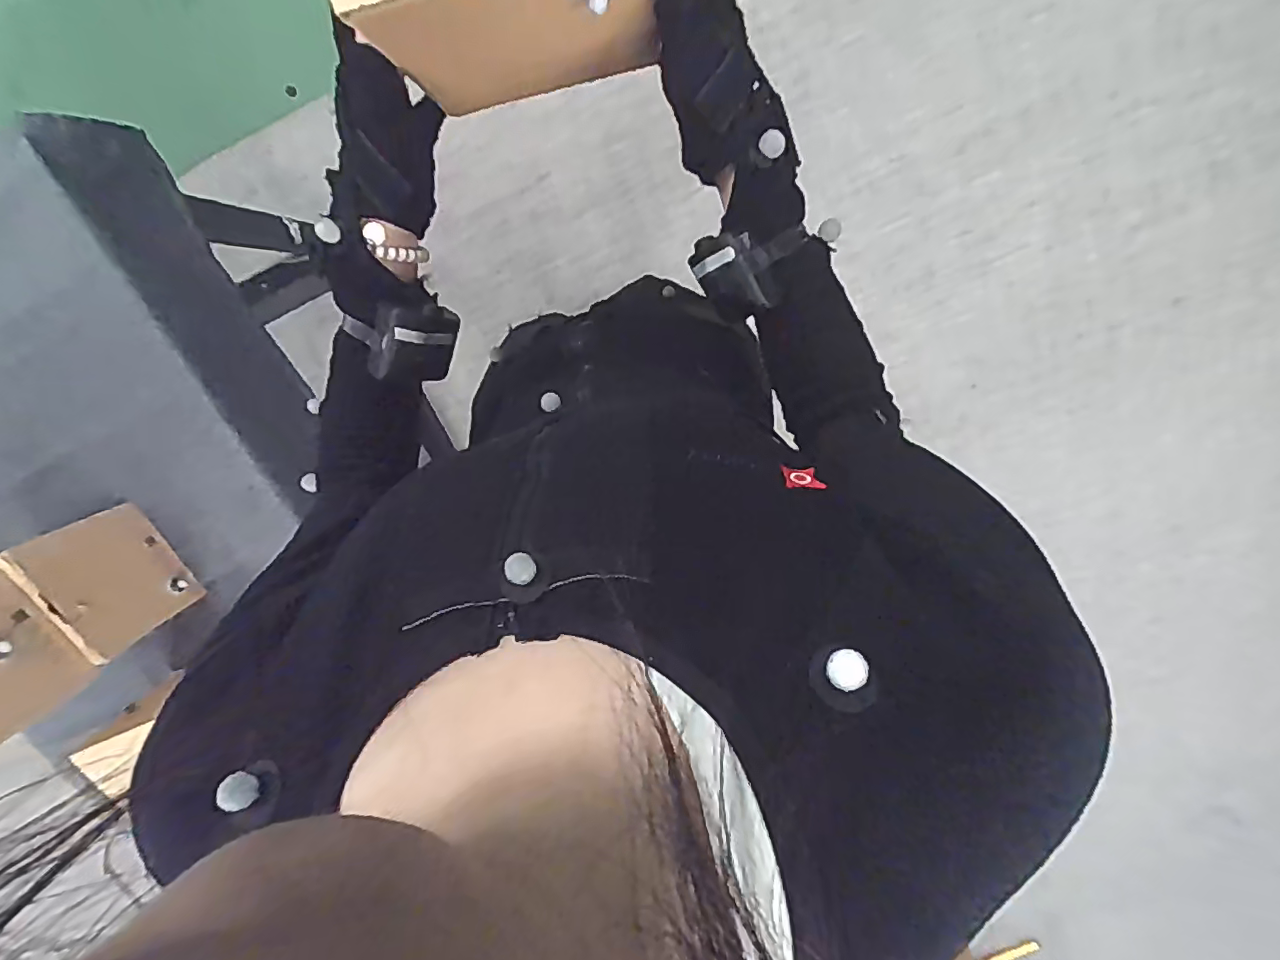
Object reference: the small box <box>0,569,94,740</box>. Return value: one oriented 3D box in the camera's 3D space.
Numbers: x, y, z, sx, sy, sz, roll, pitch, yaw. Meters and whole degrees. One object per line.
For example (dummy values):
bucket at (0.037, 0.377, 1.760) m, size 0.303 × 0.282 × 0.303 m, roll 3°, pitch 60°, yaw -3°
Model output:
small box at (-0.768, 0.225, 0.575) m, size 0.179 × 0.176 × 0.168 m, roll -25°, pitch 107°, yaw 9°

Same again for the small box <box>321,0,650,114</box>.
small box at (-0.092, -0.352, 0.323) m, size 0.179 × 0.176 × 0.168 m, roll -12°, pitch 108°, yaw 4°

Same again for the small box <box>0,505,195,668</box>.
small box at (-0.757, 0.156, 0.724) m, size 0.179 × 0.176 × 0.168 m, roll -23°, pitch 106°, yaw 9°
